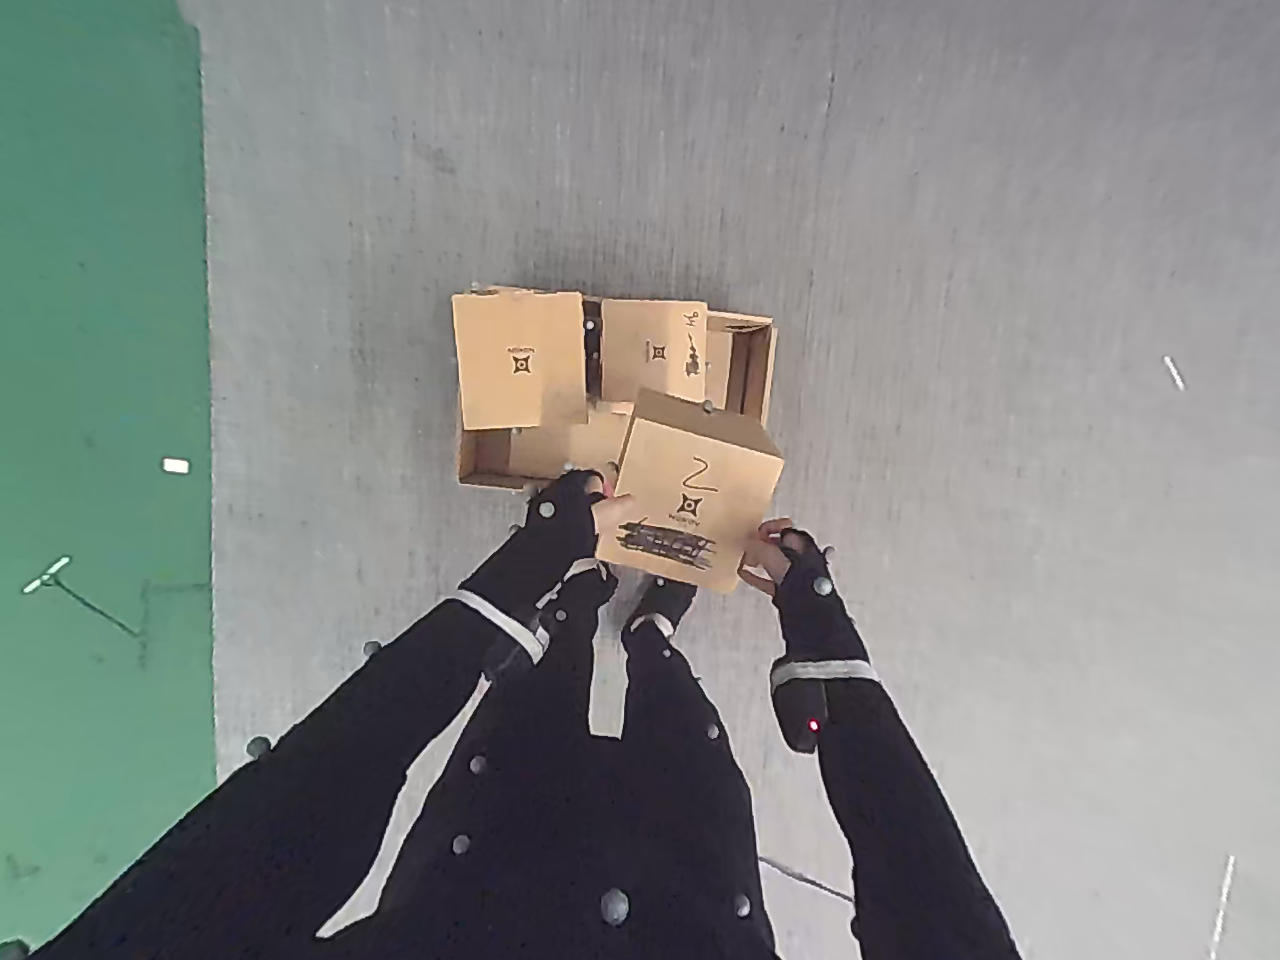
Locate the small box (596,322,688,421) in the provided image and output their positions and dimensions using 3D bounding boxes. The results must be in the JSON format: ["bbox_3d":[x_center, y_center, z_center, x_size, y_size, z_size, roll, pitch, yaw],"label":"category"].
[{"bbox_3d":[-0.001,-0.218,1.122,0.168,0.176,0.179,5,98,-3],"label":"small box"}]

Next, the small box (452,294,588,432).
[{"bbox_3d":[-0.163,-0.165,0.787,0.168,0.176,0.179,-3,98,-4],"label":"small box"}]
